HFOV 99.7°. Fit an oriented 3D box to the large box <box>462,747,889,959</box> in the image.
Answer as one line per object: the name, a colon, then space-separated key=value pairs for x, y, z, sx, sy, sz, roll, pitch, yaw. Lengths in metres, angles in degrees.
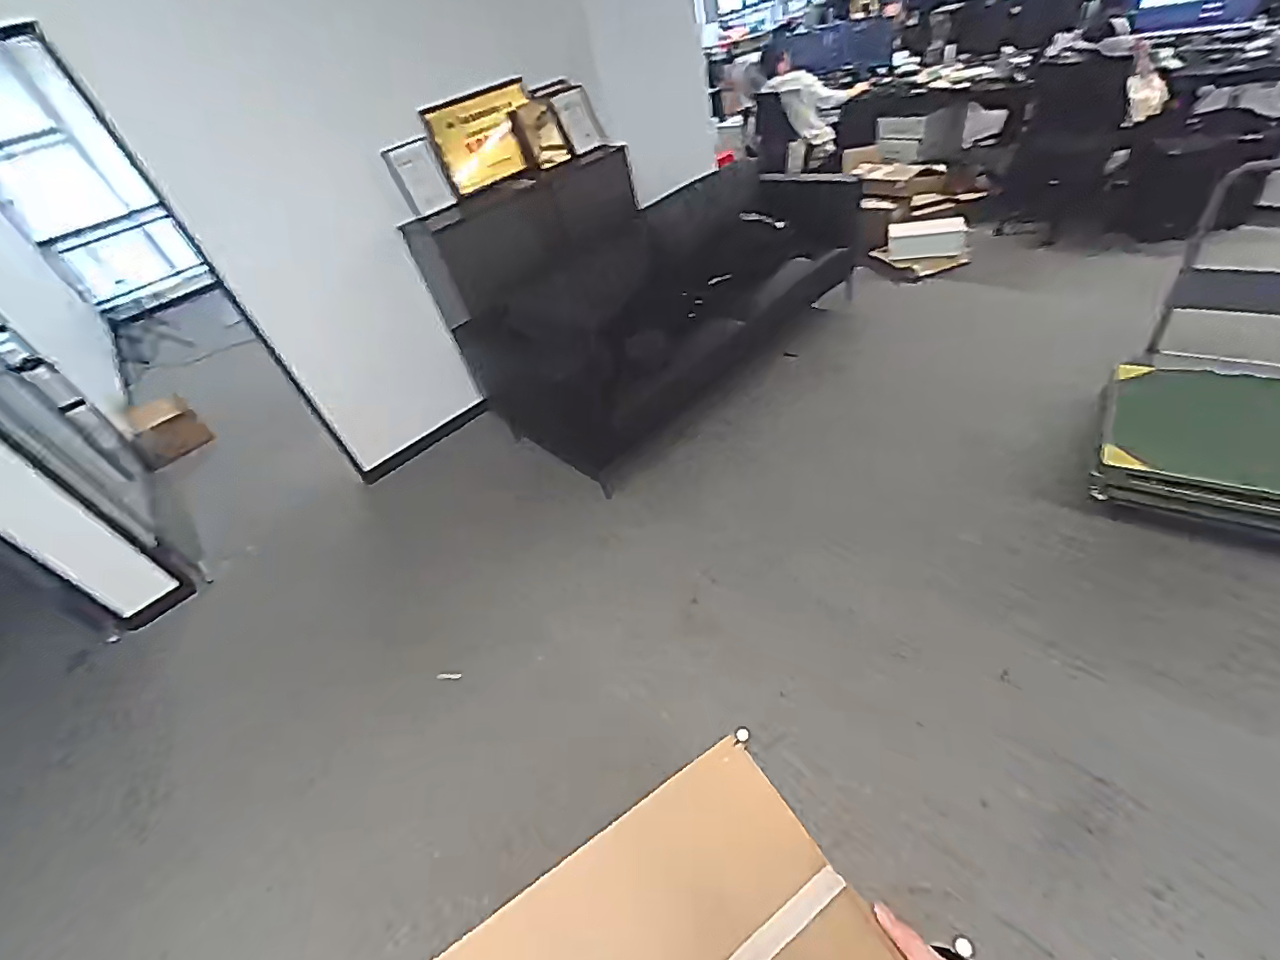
large box: x=0.030 y=0.580 z=0.560 sx=0.408 sy=0.320 sz=0.320 roll=-29 pitch=51 yaw=-20
